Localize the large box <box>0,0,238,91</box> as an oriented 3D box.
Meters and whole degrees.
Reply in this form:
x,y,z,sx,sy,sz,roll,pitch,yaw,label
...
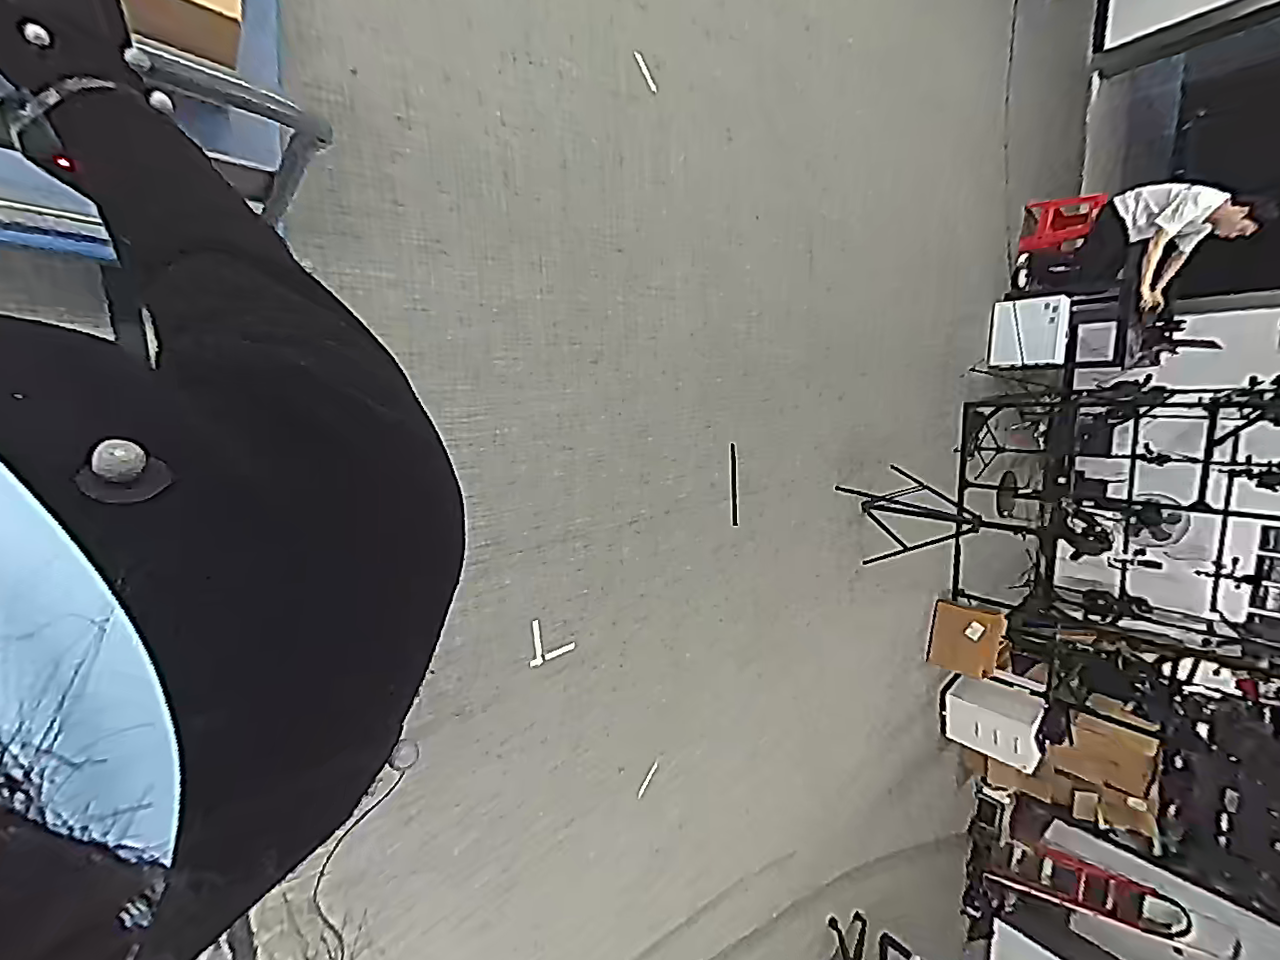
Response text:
x,y,z,sx,sy,sz,roll,pitch,yaw,label
-0.825,-0.843,0.756,0.408,0.320,0.320,-2,97,-39,large box
